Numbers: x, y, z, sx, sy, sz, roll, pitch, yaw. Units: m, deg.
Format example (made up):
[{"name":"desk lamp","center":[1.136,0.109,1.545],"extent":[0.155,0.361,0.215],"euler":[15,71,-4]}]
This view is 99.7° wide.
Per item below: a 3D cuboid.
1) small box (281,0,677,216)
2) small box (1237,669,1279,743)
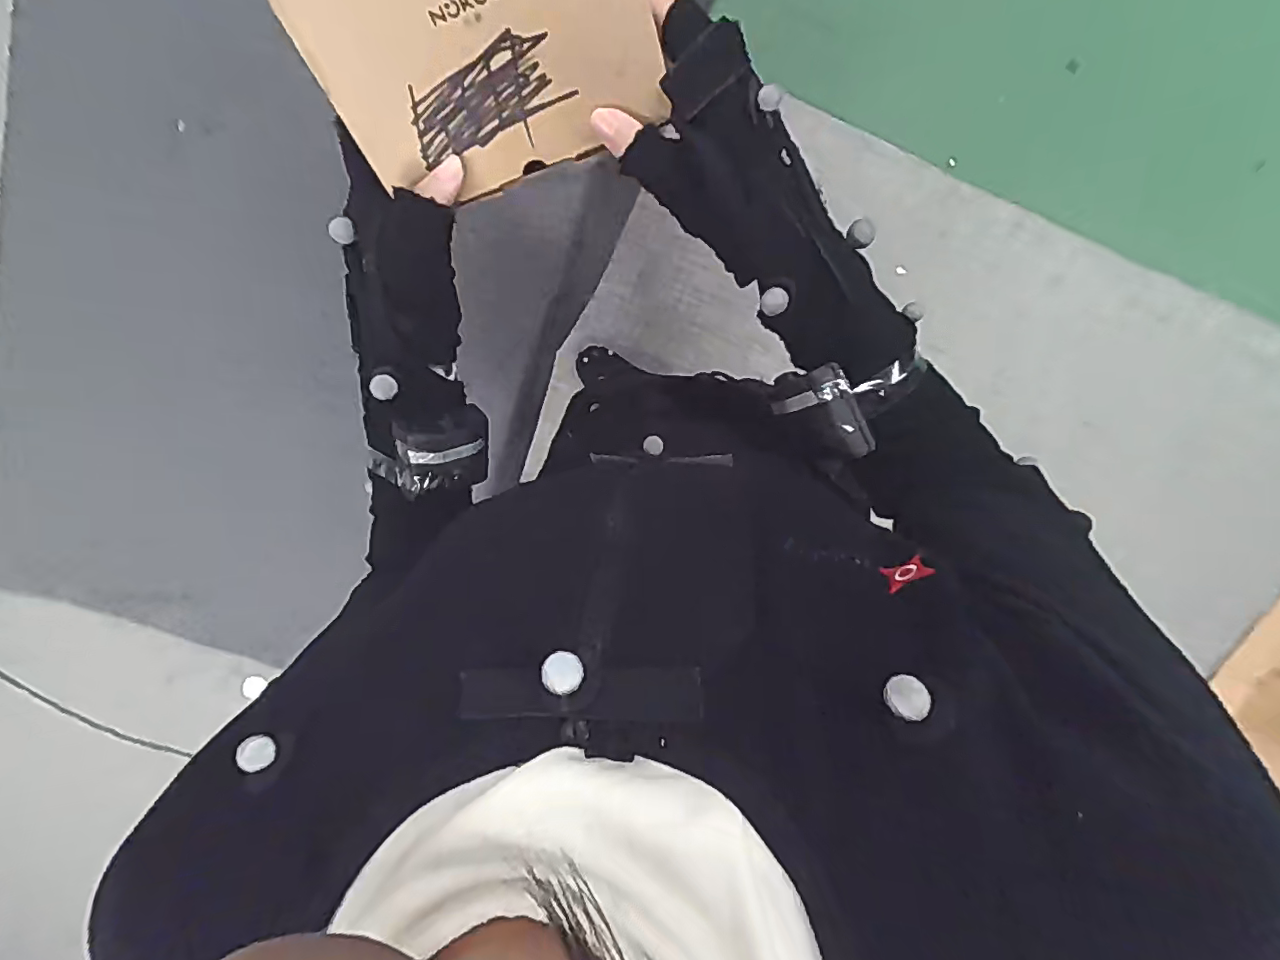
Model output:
[{"name":"small box","center":[-0.085,-0.291,0.300],"extent":[0.168,0.176,0.179],"euler":[-16,136,14]},{"name":"small box","center":[1.846,0.657,1.500],"extent":[0.168,0.176,0.179],"euler":[18,104,-6]}]
